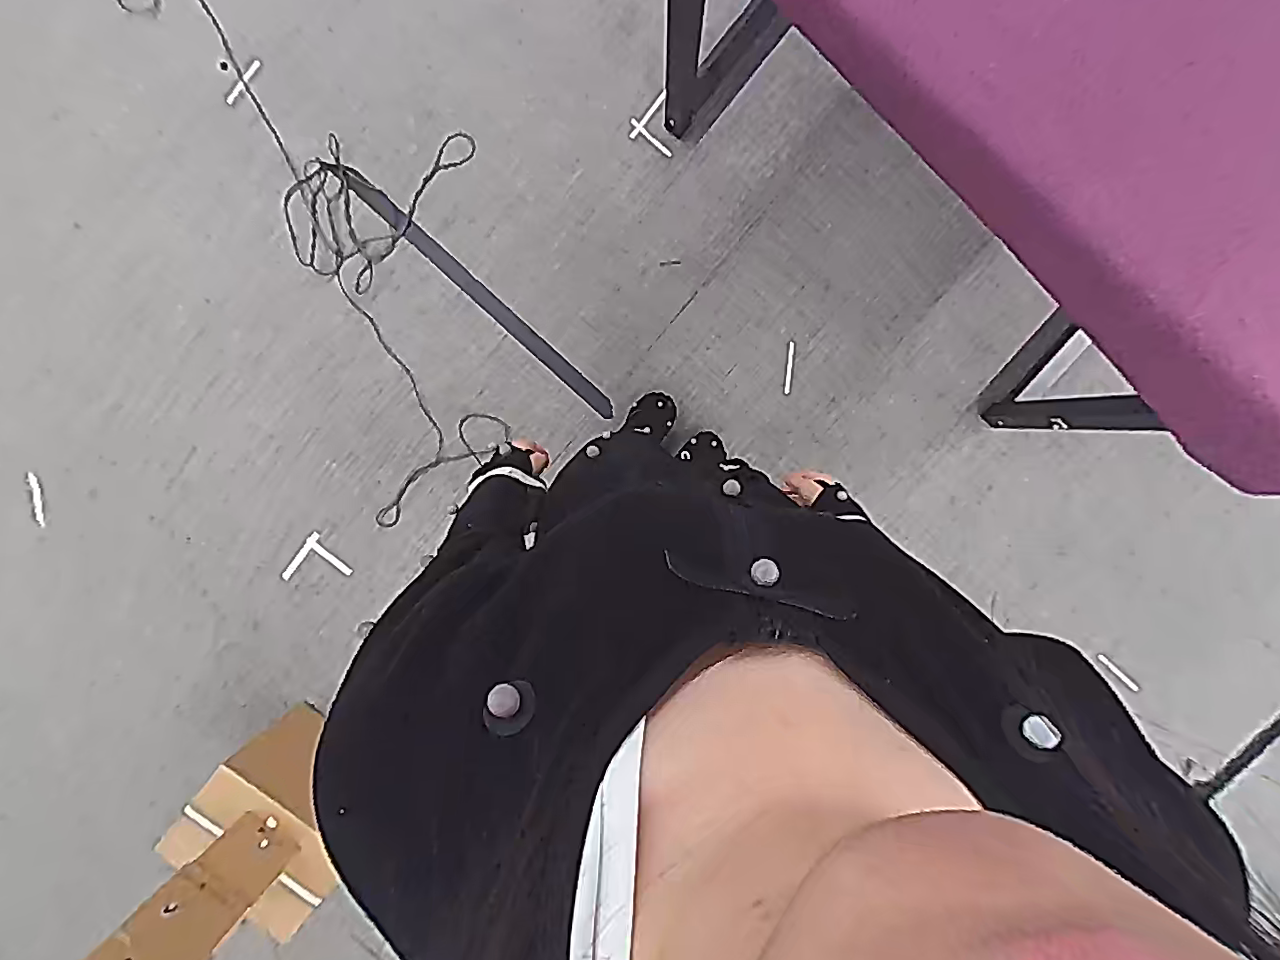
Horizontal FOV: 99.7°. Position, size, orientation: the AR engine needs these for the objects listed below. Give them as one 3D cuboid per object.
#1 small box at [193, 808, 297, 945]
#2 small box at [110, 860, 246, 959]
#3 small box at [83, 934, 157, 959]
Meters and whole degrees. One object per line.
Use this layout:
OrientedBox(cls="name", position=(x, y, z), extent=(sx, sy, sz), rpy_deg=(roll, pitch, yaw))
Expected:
OrientedBox(cls="small box", position=(-0.954, 0.925, 1.263), extent=(0.168, 0.176, 0.179), rpy_deg=(38, 95, -3))
OrientedBox(cls="small box", position=(-0.958, 0.936, 1.102), extent=(0.168, 0.176, 0.179), rpy_deg=(37, 97, -1))
OrientedBox(cls="small box", position=(-0.962, 0.959, 0.939), extent=(0.168, 0.176, 0.179), rpy_deg=(33, 96, -1))
